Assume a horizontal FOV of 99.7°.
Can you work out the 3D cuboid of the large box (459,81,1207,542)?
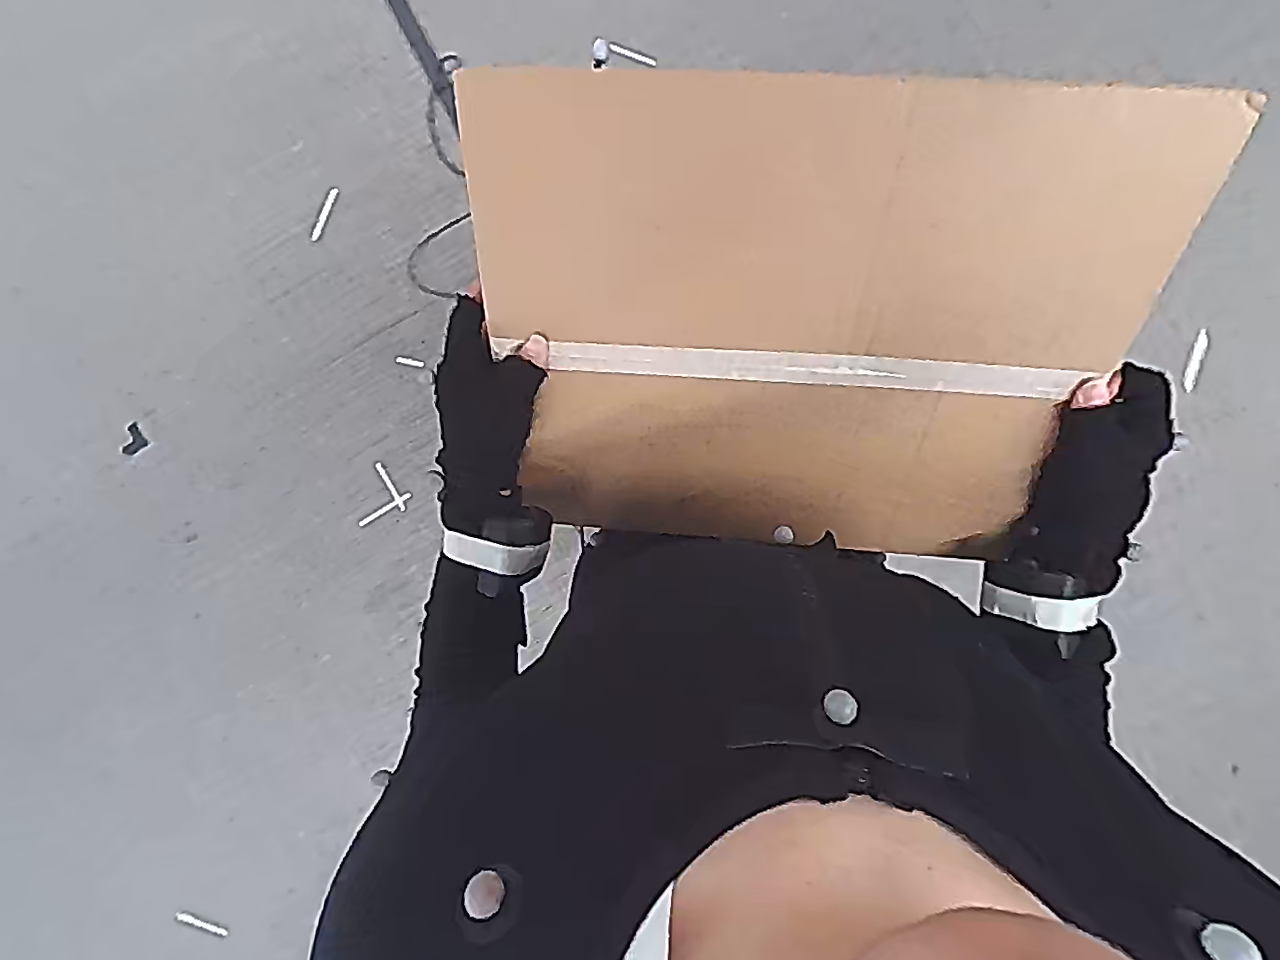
[{"bbox_3d":[0.105,-0.168,0.496,0.408,0.320,0.320,4,127,4],"label":"large box"}]
